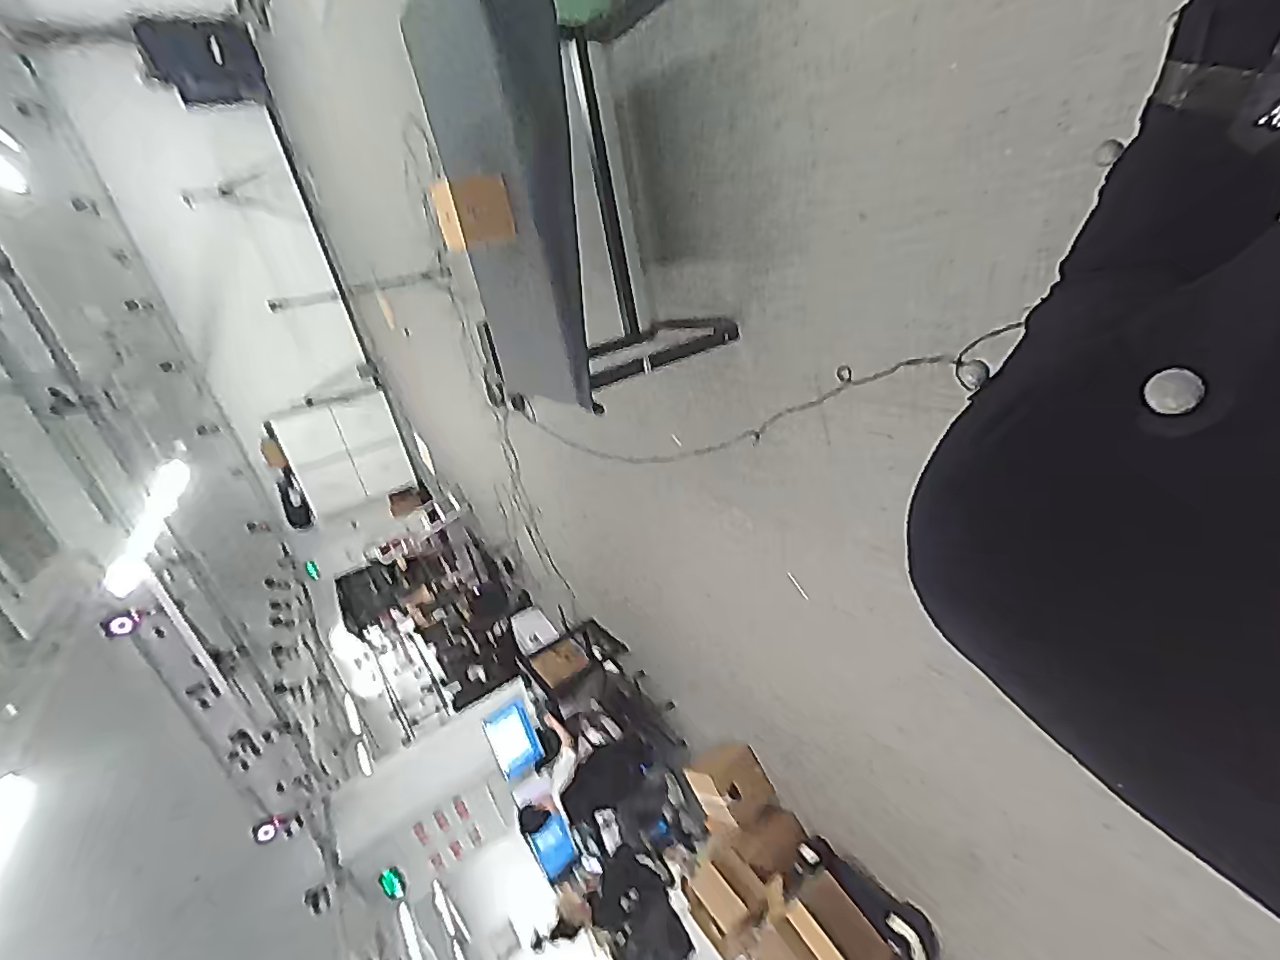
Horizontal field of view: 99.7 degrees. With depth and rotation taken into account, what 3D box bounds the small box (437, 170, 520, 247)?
[{"bbox_3d":[-0.474,-0.802,1.600,0.168,0.176,0.179,23,130,51],"label":"small box"}]
